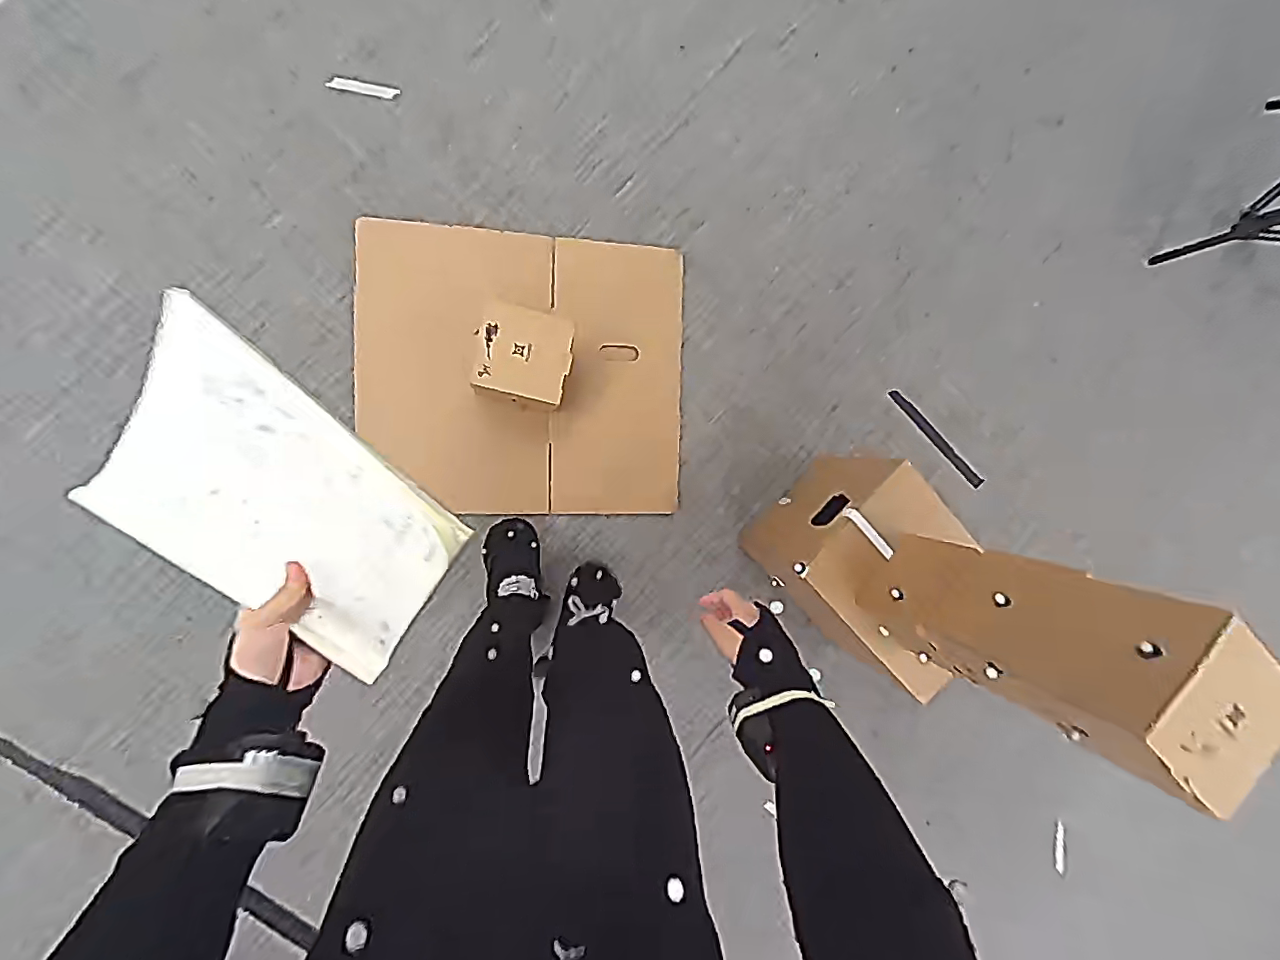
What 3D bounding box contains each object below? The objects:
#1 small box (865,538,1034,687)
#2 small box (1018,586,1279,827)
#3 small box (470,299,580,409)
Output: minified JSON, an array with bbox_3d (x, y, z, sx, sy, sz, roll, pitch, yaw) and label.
[{"bbox_3d":[0.542,0.228,0.975,0.168,0.176,0.179,40,85,-12],"label":"small box"},{"bbox_3d":[0.617,0.255,0.656,0.168,0.176,0.179,43,85,-11],"label":"small box"},{"bbox_3d":[-0.234,-0.242,1.090,0.179,0.176,0.168,13,90,-15],"label":"small box"}]
